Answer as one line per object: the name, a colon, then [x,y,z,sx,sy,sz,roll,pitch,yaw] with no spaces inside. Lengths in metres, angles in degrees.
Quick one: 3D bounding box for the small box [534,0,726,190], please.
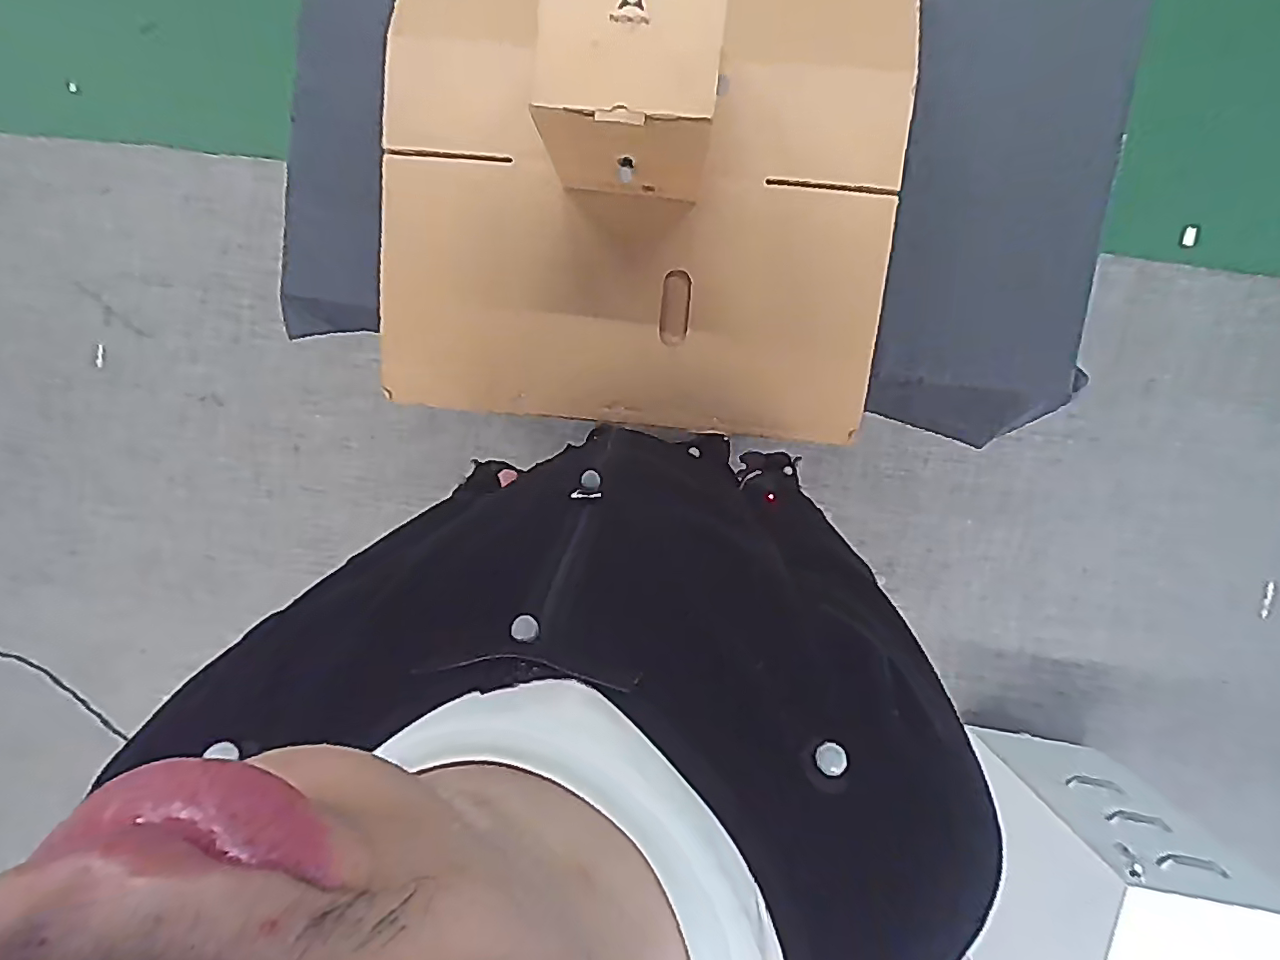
small box: [-0.003,-0.416,0.545,0.168,0.176,0.179,4,97,2]
